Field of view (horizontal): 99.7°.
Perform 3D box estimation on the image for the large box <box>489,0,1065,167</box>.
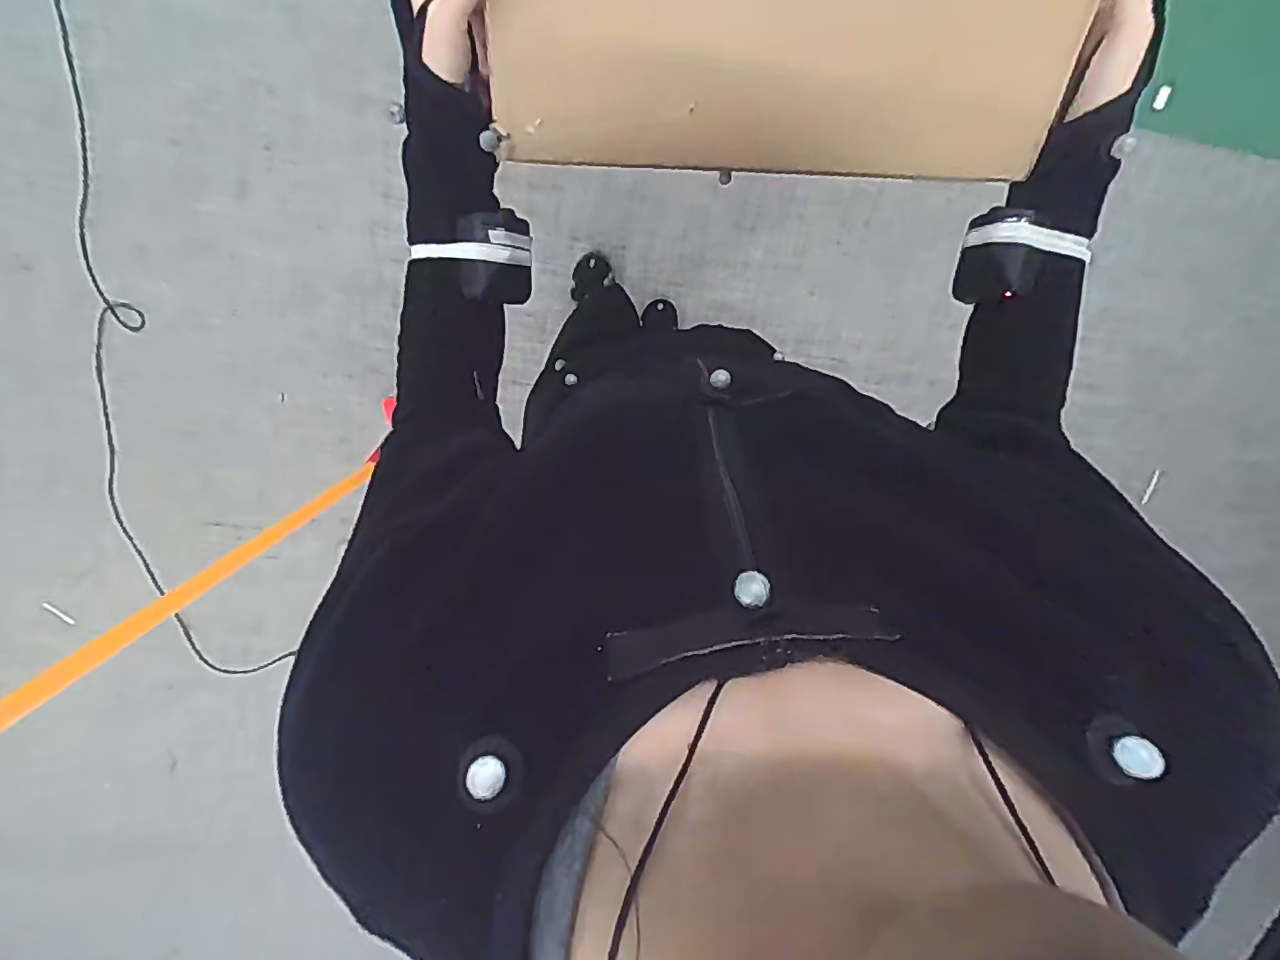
[{"bbox_3d":[0.092,-0.456,0.458,0.408,0.320,0.320,0,121,-4],"label":"large box"}]
